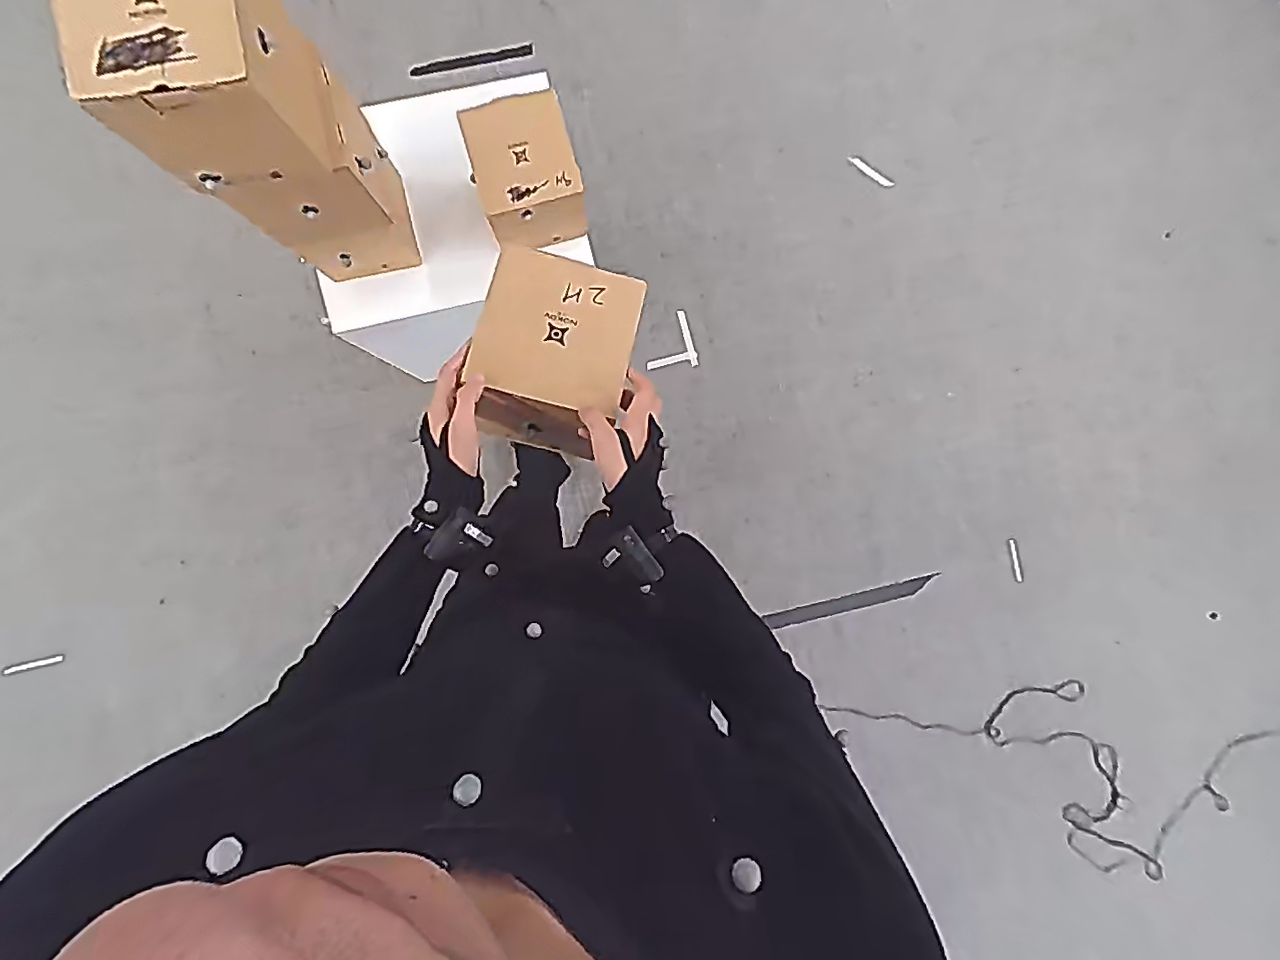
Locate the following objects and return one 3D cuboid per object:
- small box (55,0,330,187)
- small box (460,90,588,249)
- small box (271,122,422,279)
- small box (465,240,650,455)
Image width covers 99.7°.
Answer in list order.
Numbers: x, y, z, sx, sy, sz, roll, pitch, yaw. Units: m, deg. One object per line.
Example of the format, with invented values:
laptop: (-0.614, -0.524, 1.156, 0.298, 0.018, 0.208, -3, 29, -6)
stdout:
small box: (-0.473, -0.450, 0.596, 0.168, 0.176, 0.179, -10, 91, -4)
small box: (-0.193, -0.525, 0.946, 0.168, 0.176, 0.179, -16, 92, -3)
small box: (-0.494, -0.462, 0.925, 0.168, 0.176, 0.179, -14, 92, -5)
small box: (-0.098, -0.145, 0.655, 0.168, 0.176, 0.179, 14, 73, -8)
